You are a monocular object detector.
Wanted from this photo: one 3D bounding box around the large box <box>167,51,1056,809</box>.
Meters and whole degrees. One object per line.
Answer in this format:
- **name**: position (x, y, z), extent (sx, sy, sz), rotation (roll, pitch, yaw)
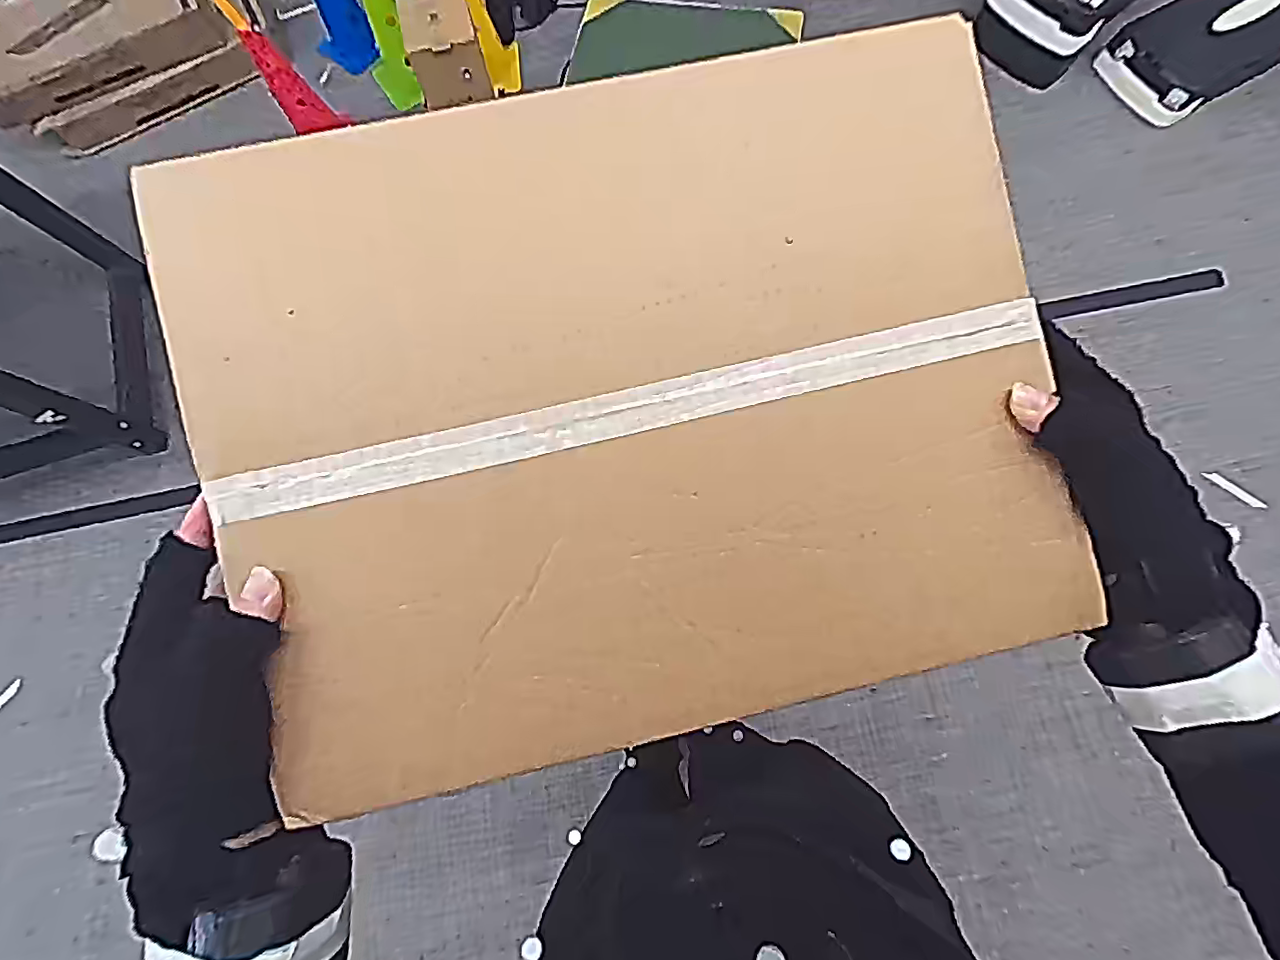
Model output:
- **large box**: position (-0.011, -0.032, 0.422), extent (0.408, 0.320, 0.320), rotation (-13, 89, -4)
